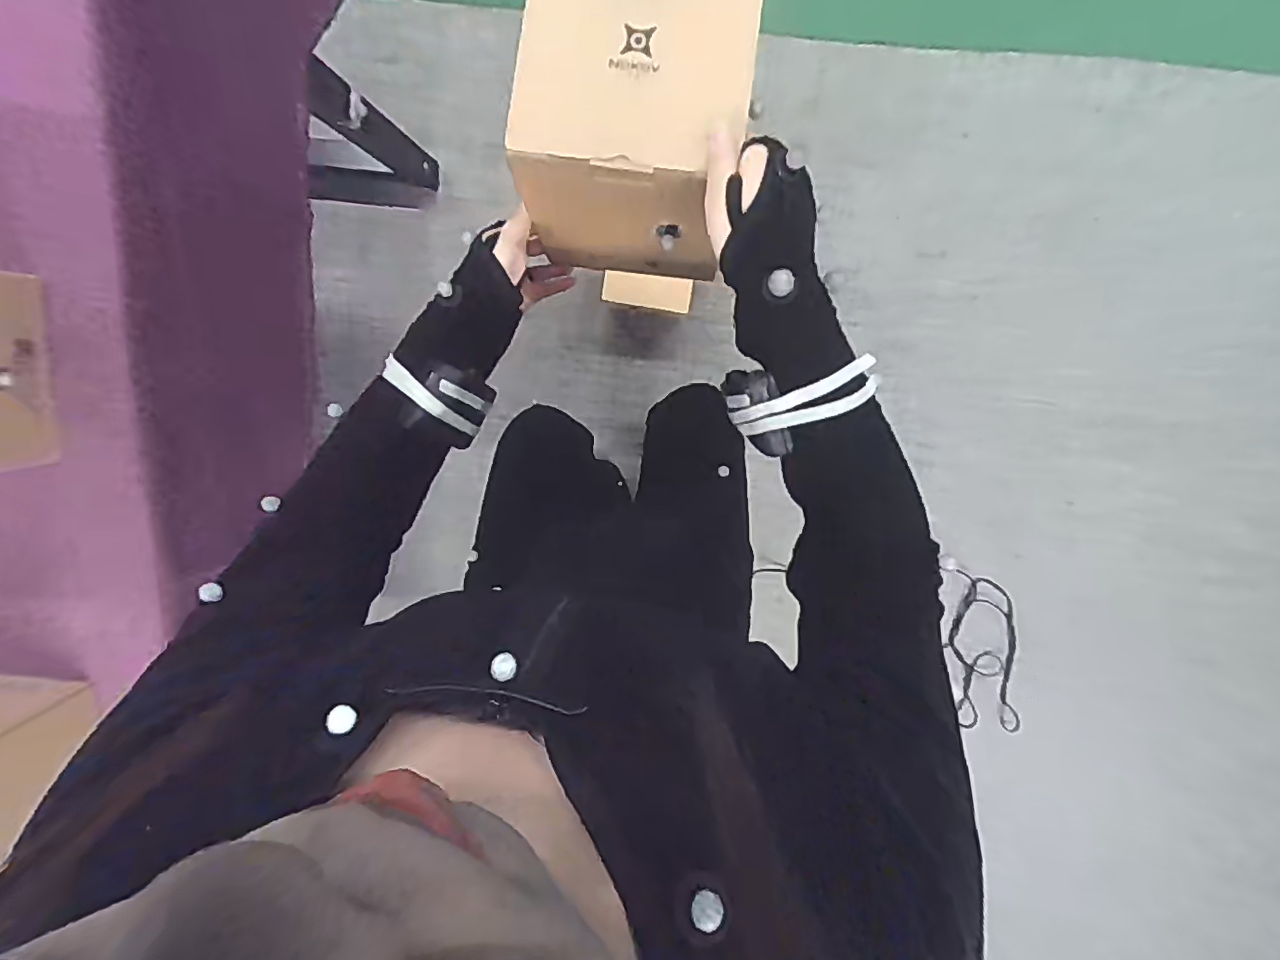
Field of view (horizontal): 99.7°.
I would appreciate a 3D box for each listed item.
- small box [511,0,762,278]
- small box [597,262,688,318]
[{"bbox_3d":[0.001,-0.297,0.468,0.168,0.176,0.179,8,86,1],"label":"small box"},{"bbox_3d":[0.016,-0.425,1.064,0.168,0.176,0.179,10,101,-2],"label":"small box"}]
